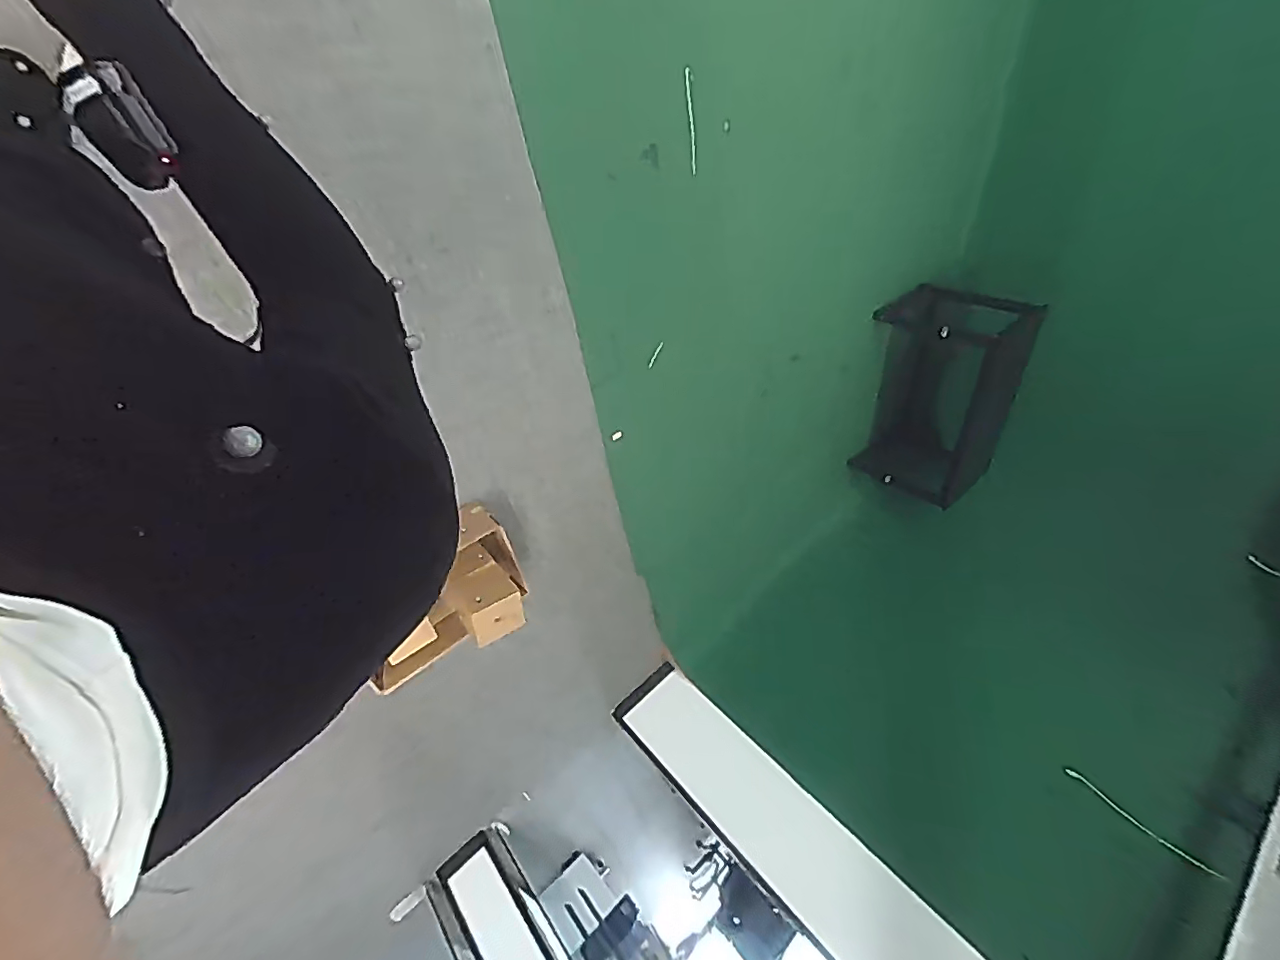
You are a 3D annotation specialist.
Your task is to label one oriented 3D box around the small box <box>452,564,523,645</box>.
[{"bbox_3d":[-0.525,0.418,1.842,0.179,0.176,0.168,-25,132,-31],"label":"small box"}]
